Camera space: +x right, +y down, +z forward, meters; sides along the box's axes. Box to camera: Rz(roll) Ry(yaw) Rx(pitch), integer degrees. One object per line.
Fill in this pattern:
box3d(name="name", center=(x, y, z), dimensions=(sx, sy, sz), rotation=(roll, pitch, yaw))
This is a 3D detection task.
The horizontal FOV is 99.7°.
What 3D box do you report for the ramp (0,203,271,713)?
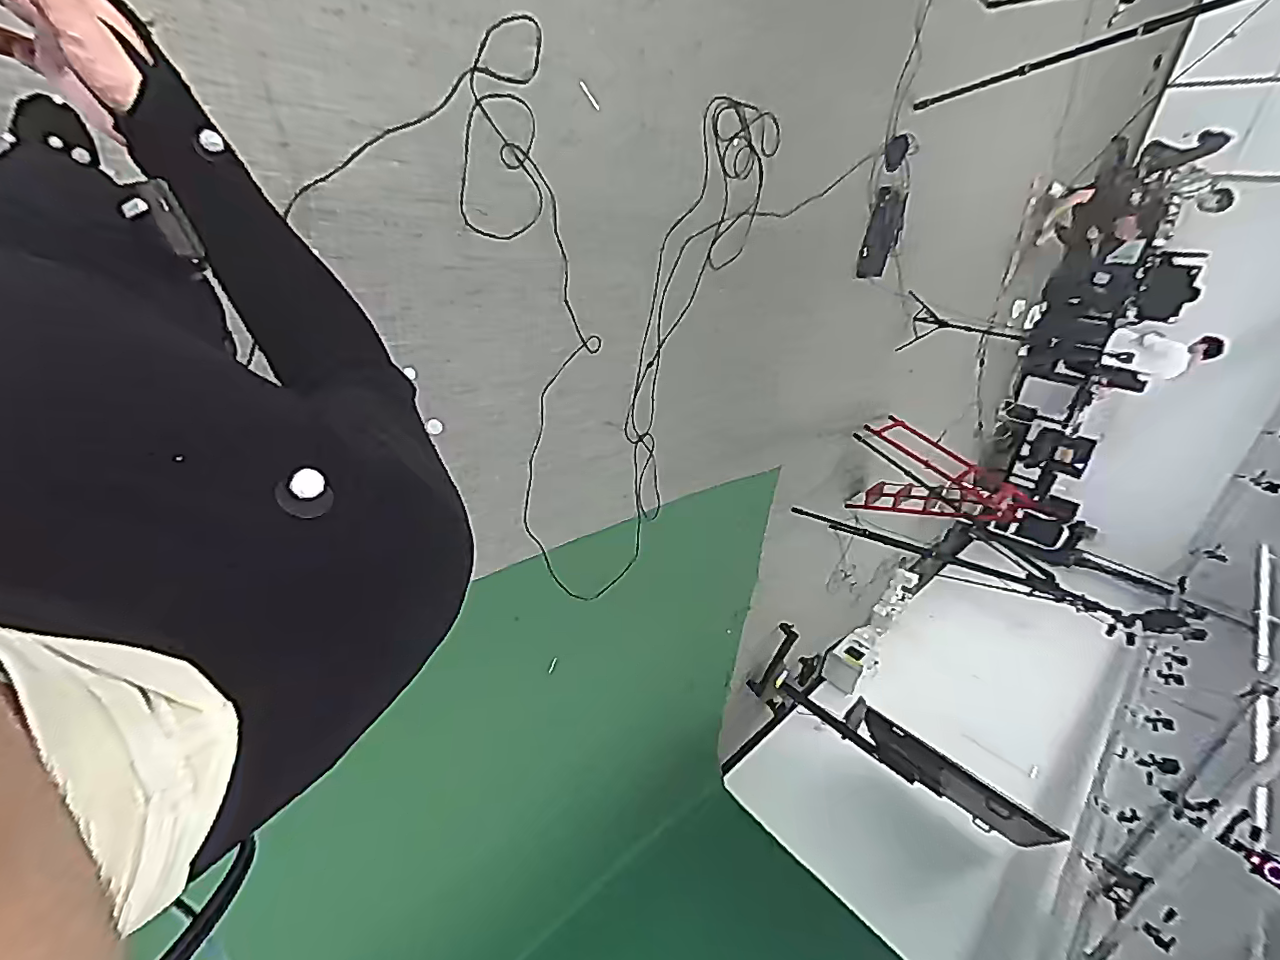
box3d(name="ramp", center=(-1.198, -0.033, 1.138), dimensions=(0.509, 0.206, 0.991), rotation=(-20, 125, -37))
